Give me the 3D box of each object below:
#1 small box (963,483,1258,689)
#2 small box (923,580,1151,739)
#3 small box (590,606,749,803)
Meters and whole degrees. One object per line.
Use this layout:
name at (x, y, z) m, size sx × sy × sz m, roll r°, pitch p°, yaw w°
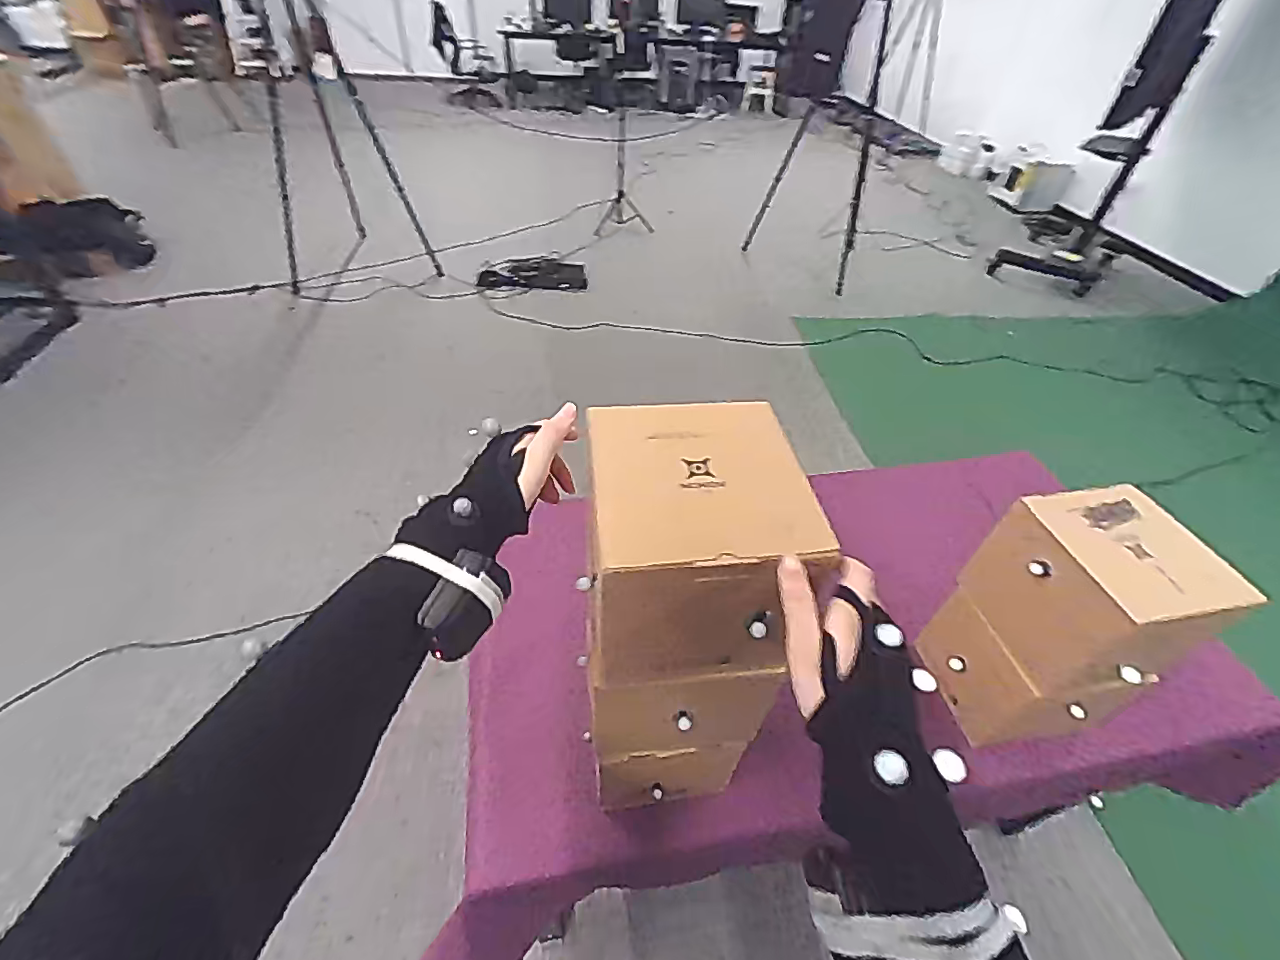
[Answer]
small box at (0.544, 0.128, 0.663) m, size 0.168 × 0.176 × 0.179 m, roll -6°, pitch 46°, yaw -10°
small box at (0.538, 0.250, 0.772) m, size 0.179 × 0.176 × 0.168 m, roll -4°, pitch 46°, yaw -8°
small box at (0.023, 0.289, 0.700) m, size 0.168 × 0.176 × 0.179 m, roll -4°, pitch 46°, yaw -9°
